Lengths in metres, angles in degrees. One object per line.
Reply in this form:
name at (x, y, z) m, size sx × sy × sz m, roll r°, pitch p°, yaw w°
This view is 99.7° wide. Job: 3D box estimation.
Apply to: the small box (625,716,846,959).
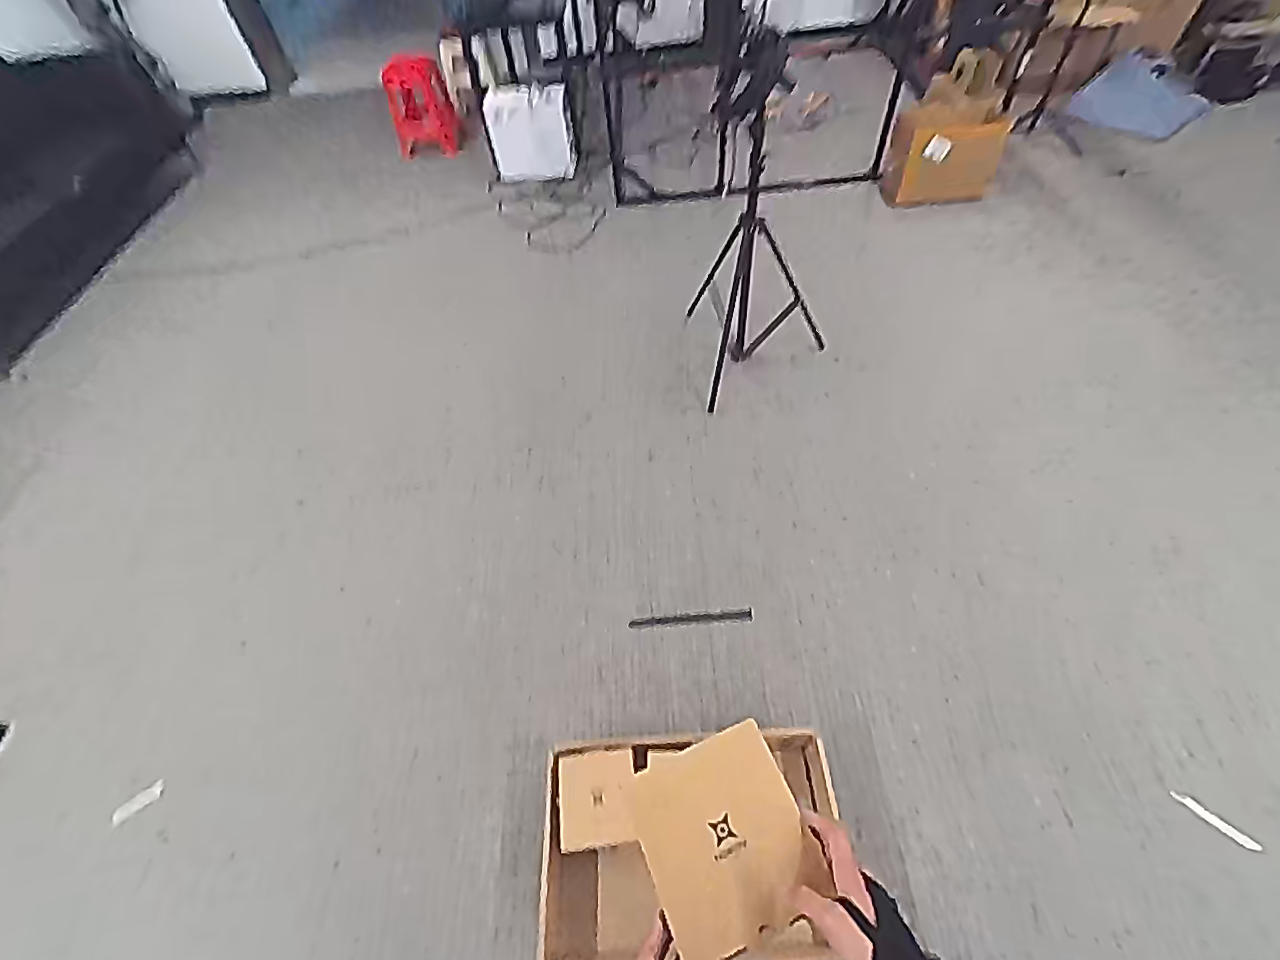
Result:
small box at (0.091, 0.397, 0.604) m, size 0.168 × 0.176 × 0.179 m, roll -20°, pitch 58°, yaw -11°
